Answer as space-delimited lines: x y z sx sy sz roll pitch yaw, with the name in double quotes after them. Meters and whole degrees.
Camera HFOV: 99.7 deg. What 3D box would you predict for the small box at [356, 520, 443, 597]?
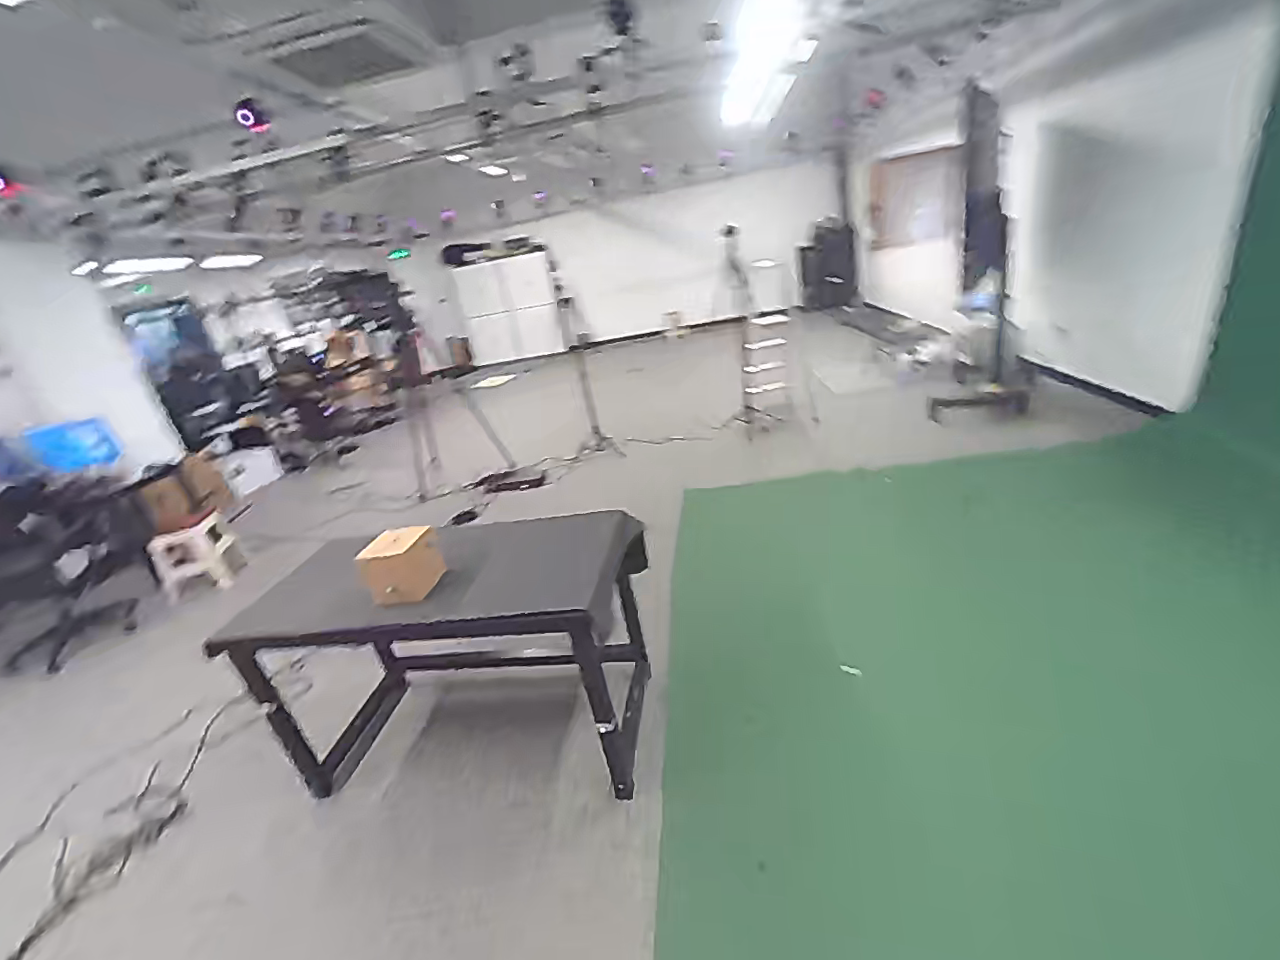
-0.736 0.243 1.684 0.168 0.176 0.179 -7 23 10 "small box"
